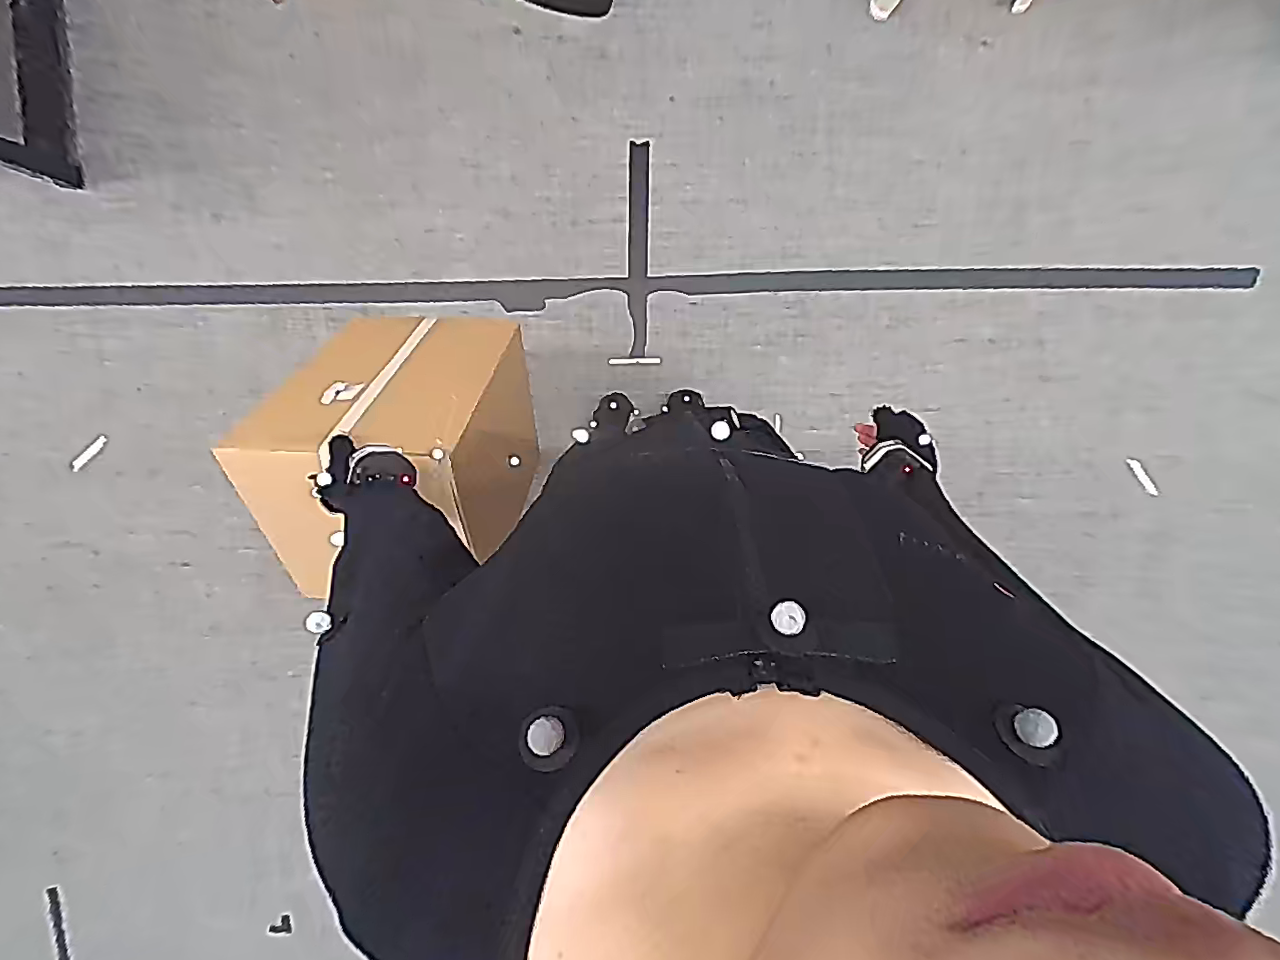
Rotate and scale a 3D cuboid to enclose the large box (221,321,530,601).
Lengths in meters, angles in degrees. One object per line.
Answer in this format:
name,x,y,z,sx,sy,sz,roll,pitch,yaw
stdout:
large box,-0.395,-0.046,0.949,0.320,0.408,0.320,1,131,3
